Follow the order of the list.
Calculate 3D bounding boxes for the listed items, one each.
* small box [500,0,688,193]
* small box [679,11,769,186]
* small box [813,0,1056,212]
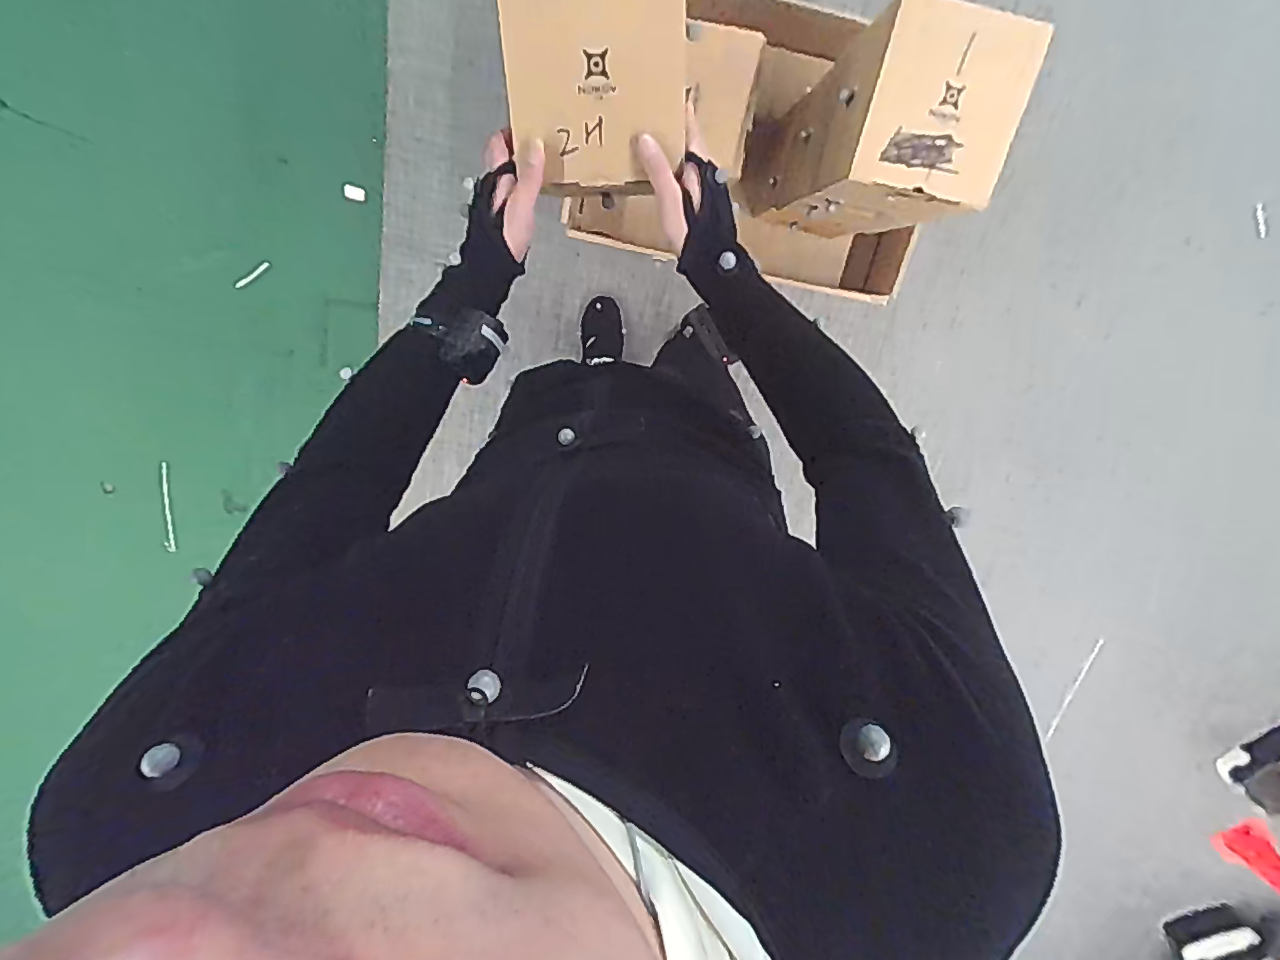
[{"bbox_3d":[-0.039,-0.402,0.557,0.168,0.176,0.179,-1,115,2],"label":"small box"},{"bbox_3d":[0.064,-0.535,0.777,0.179,0.176,0.168,8,111,-4],"label":"small box"},{"bbox_3d":[0.324,-0.432,0.641,0.168,0.176,0.179,11,110,-5],"label":"small box"}]
